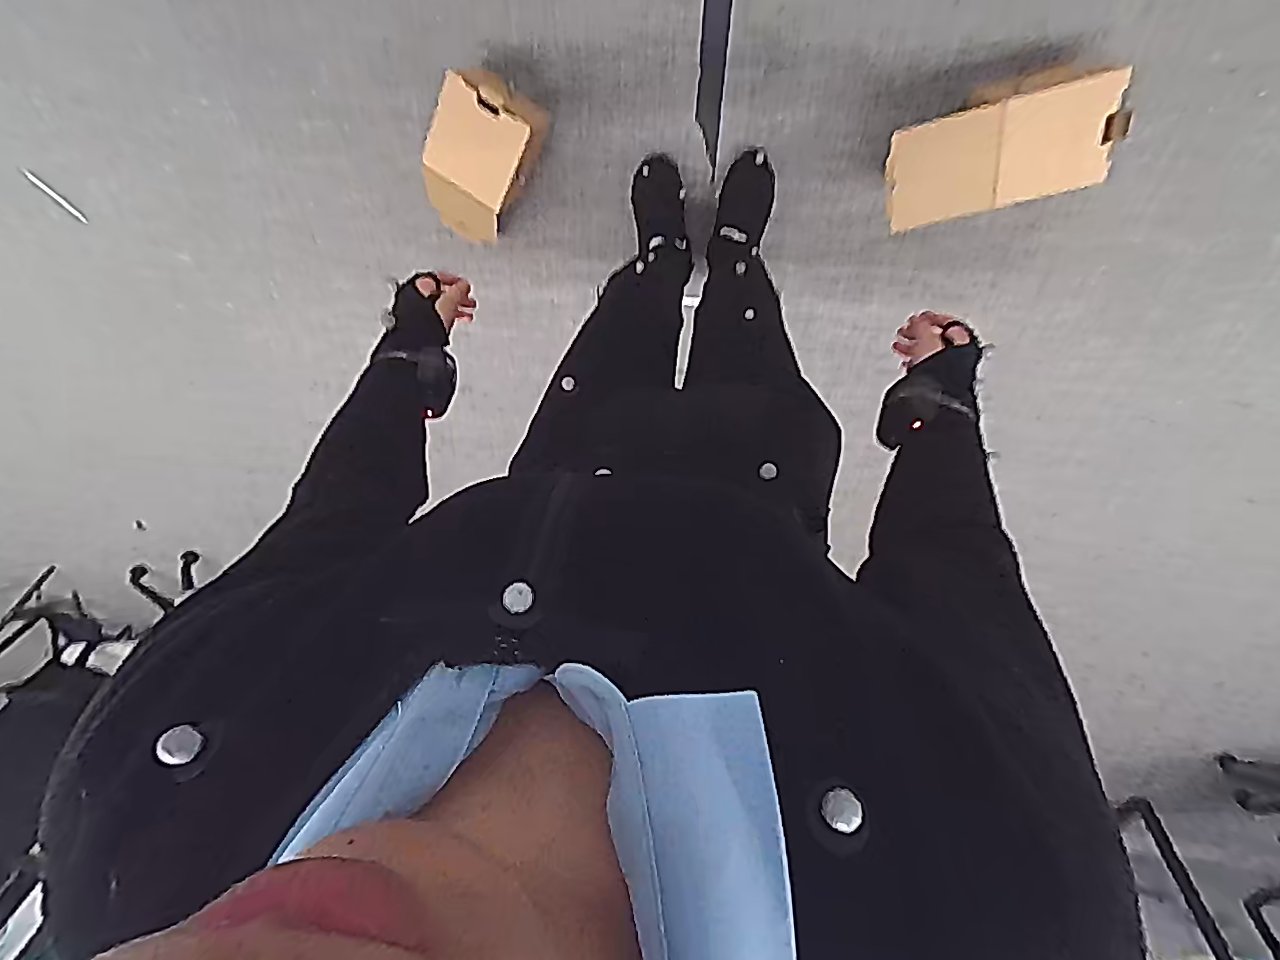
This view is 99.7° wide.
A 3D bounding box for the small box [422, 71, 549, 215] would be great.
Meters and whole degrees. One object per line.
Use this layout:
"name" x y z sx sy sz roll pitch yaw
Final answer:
"small box" -0.299 -0.670 1.074 0.168 0.176 0.179 29 127 -15
